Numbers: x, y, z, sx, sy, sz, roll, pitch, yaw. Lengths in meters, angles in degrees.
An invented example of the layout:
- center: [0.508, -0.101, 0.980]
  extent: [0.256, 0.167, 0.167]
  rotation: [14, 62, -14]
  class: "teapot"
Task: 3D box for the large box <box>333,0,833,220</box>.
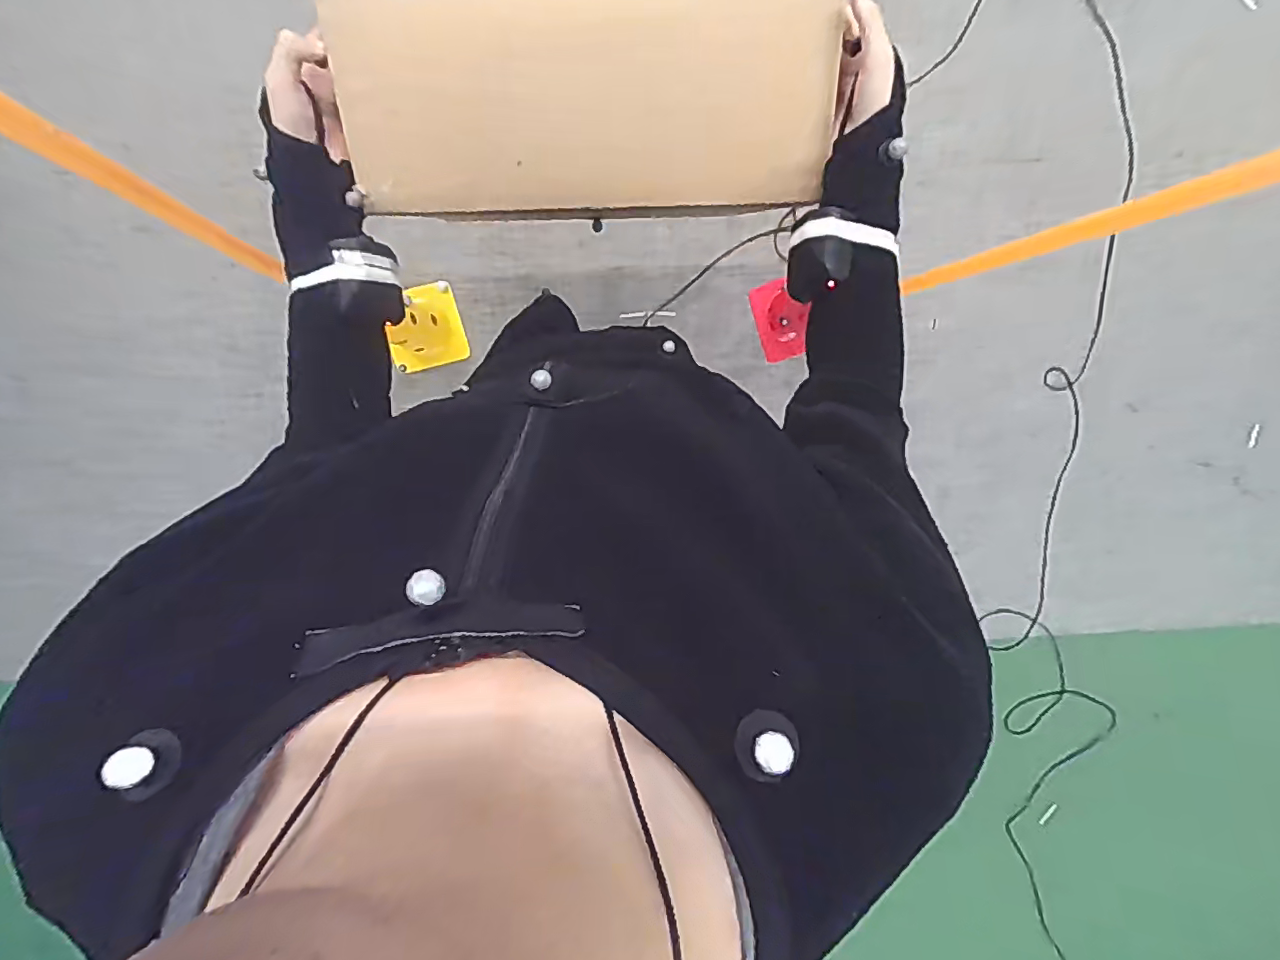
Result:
- center: [-0.050, -0.448, 0.558]
  extent: [0.408, 0.320, 0.320]
  rotation: [-4, 114, -4]
  class: "large box"
